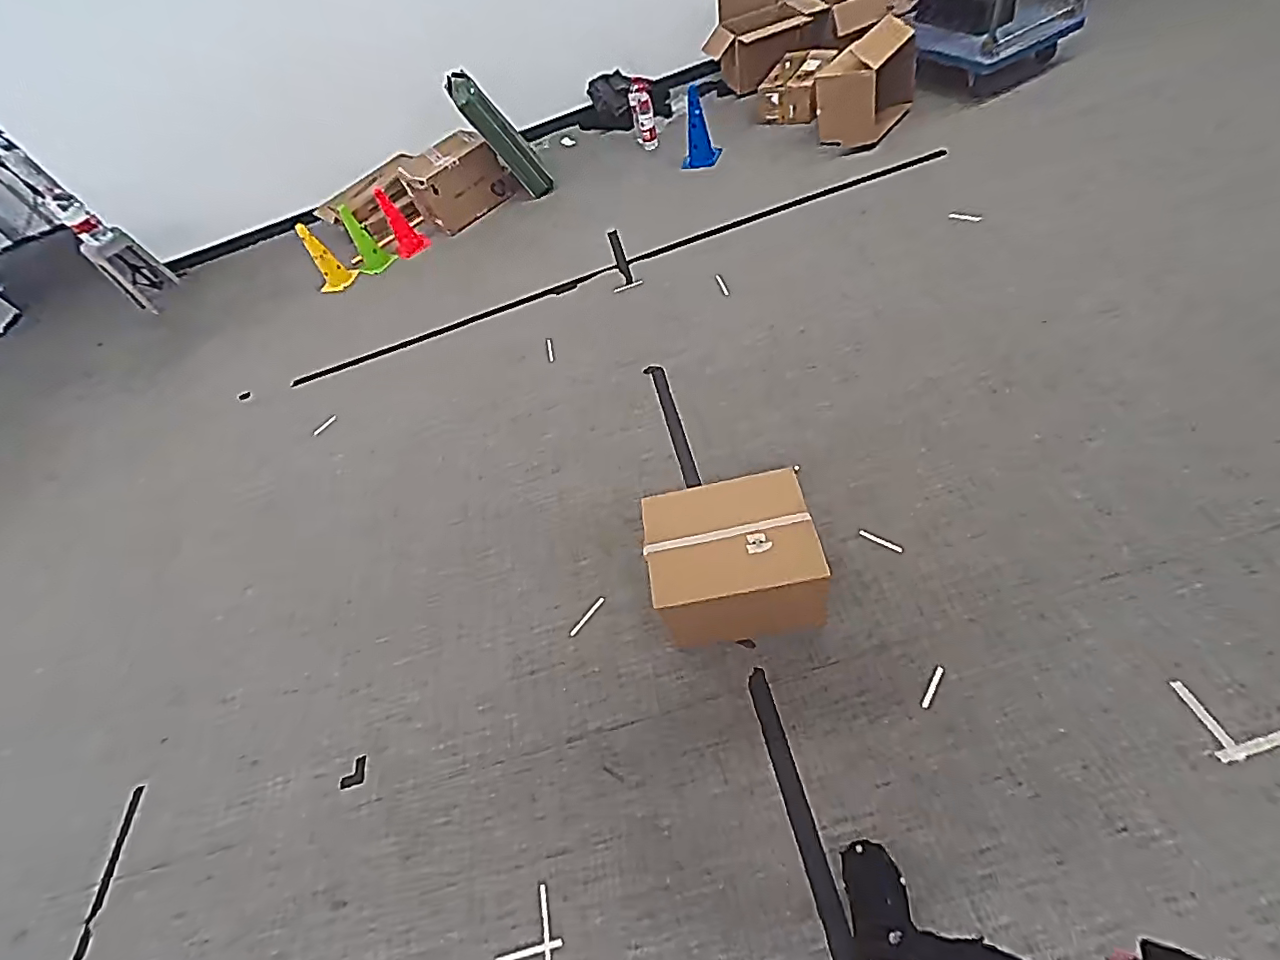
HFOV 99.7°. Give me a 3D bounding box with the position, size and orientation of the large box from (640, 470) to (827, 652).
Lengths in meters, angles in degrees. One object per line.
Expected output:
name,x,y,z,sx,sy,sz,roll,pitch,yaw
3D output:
large box,0.239,0.223,1.418,0.408,0.320,0.320,-12,53,7
